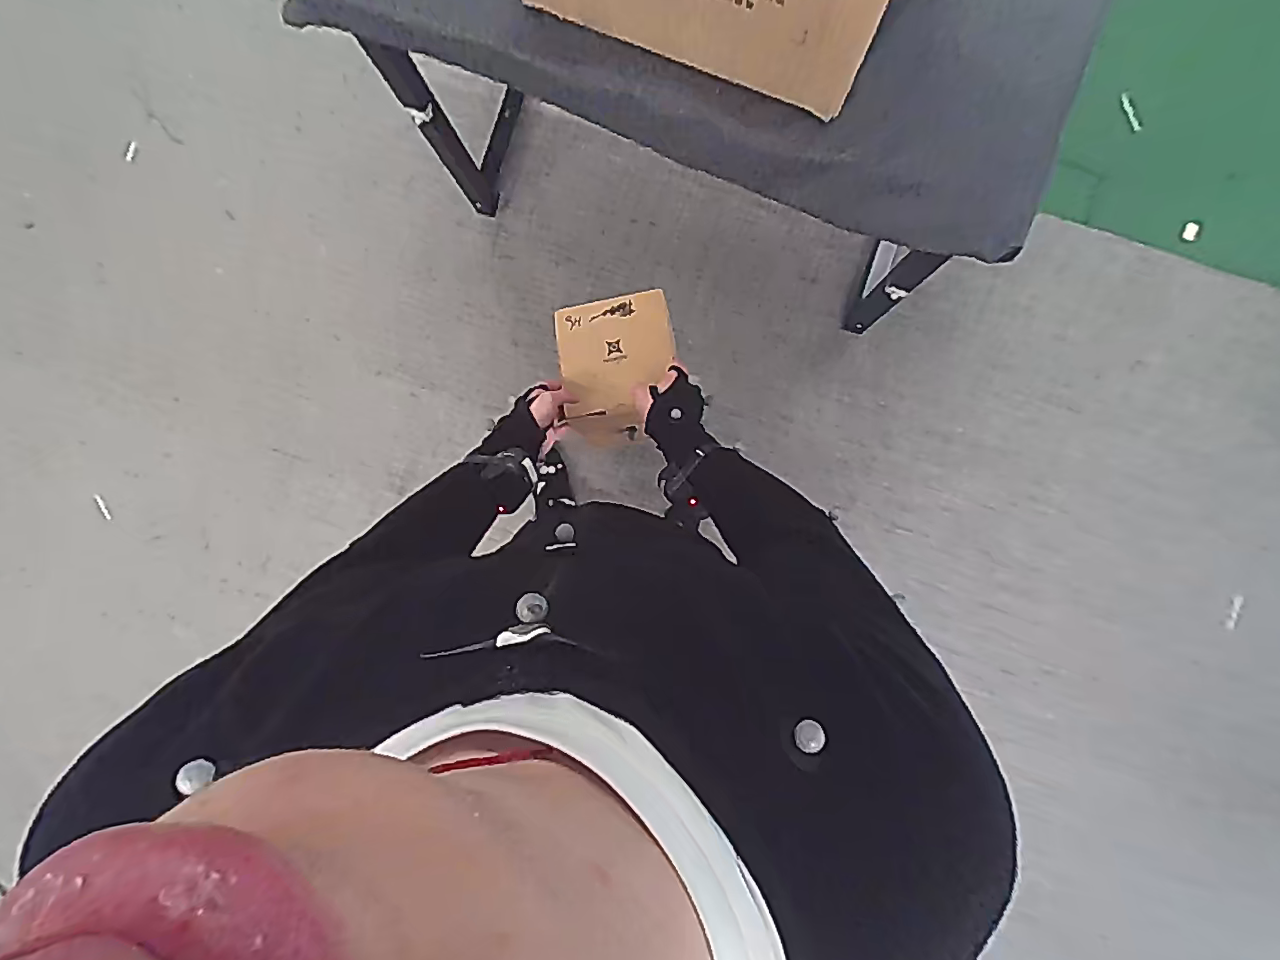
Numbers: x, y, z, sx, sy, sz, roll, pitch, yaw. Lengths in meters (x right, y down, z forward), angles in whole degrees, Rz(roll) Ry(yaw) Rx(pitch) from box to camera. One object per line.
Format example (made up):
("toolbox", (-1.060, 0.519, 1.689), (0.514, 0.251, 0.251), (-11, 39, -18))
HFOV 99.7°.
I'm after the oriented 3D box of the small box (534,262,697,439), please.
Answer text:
("small box", (-0.028, -0.189, 0.844), (0.179, 0.176, 0.168), (-38, 73, 1))
